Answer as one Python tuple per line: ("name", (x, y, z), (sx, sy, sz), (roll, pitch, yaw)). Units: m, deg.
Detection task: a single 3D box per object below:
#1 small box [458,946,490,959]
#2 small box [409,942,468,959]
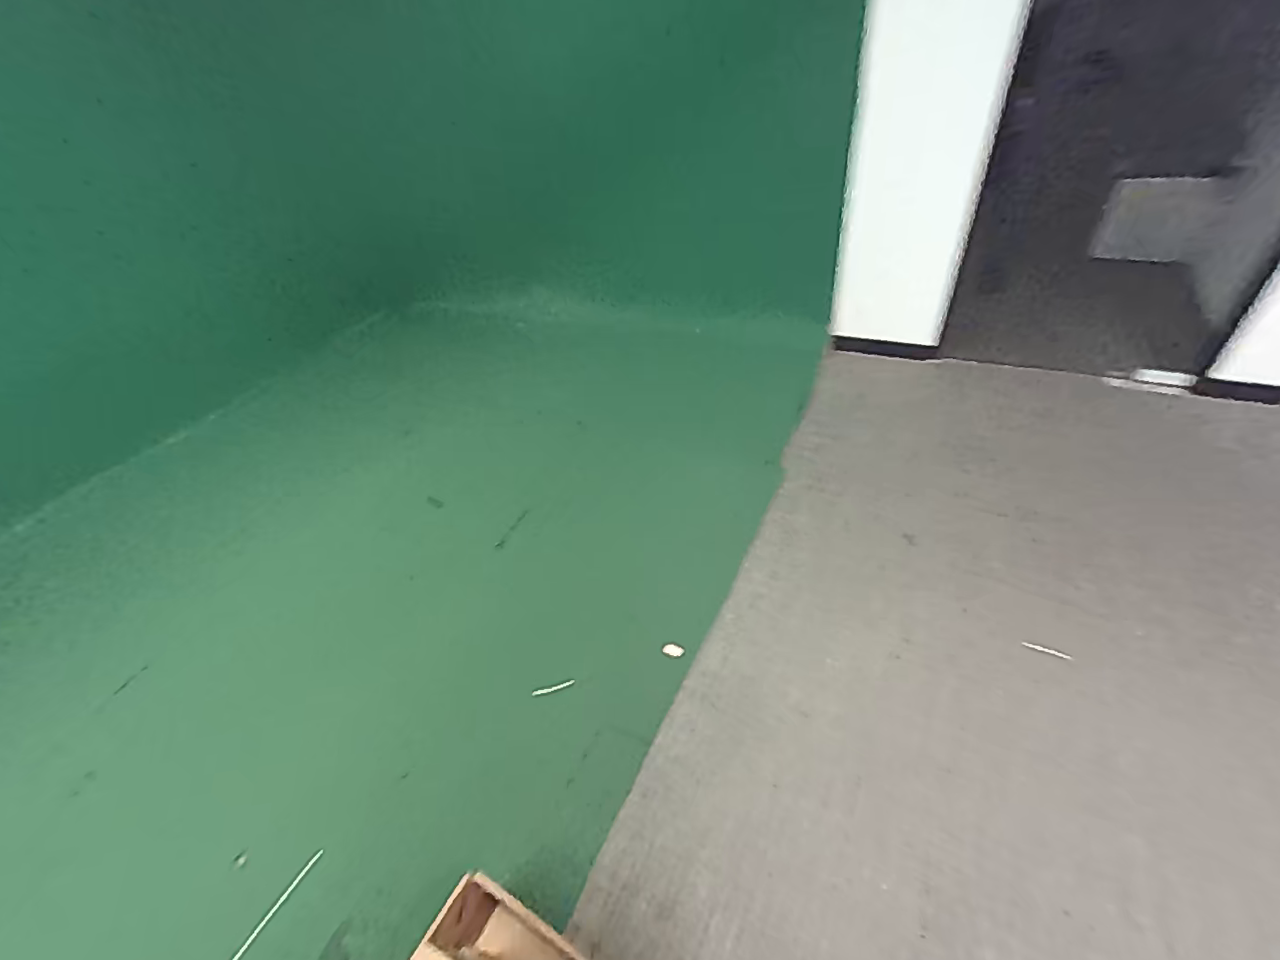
("small box", (-0.296, 1.010, 0.984), (0.179, 0.176, 0.168), (20, 51, 28))
("small box", (-0.312, 0.894, 0.871), (0.179, 0.176, 0.168), (14, 49, 20))
